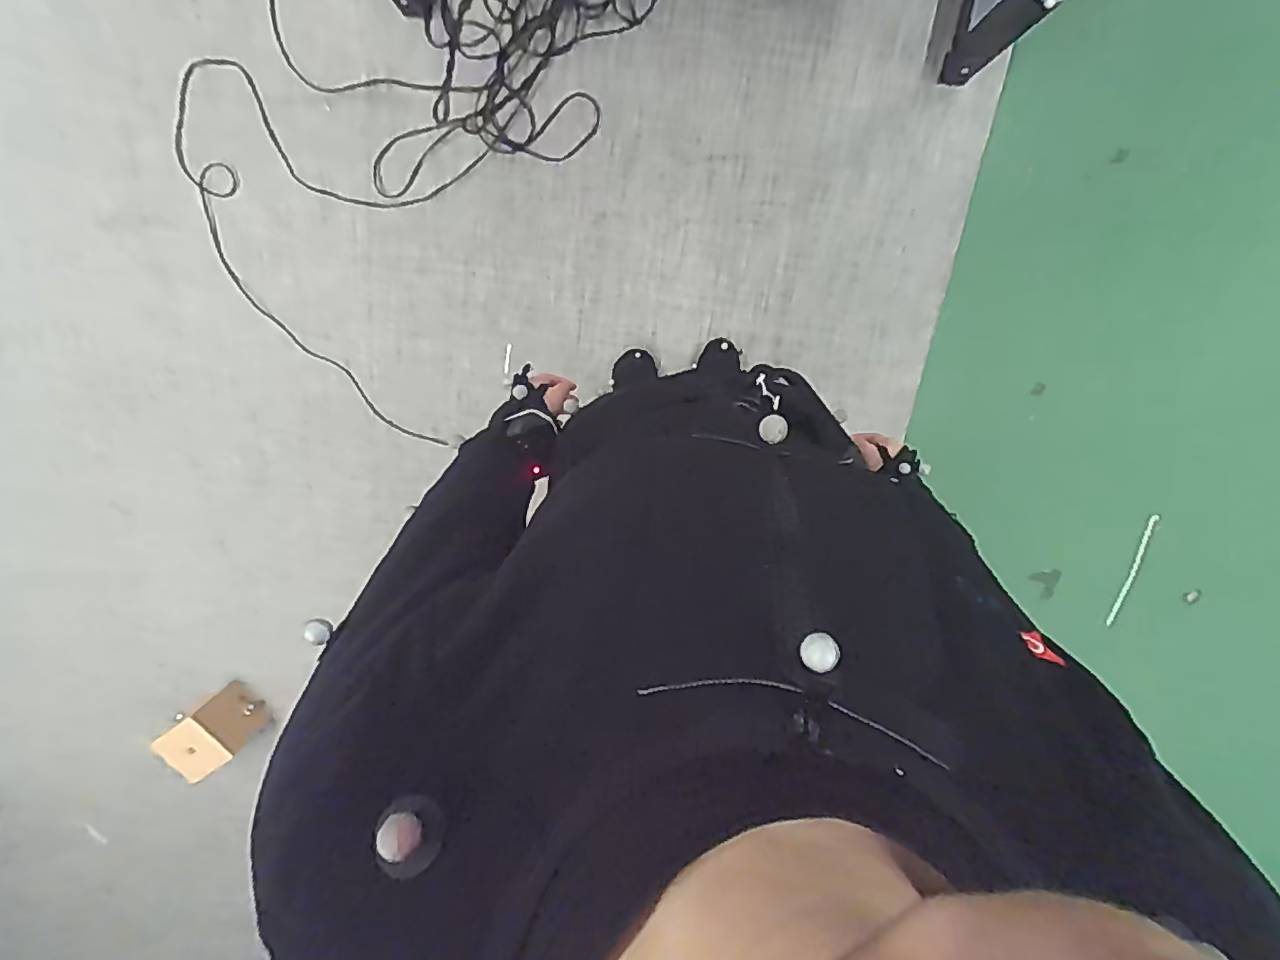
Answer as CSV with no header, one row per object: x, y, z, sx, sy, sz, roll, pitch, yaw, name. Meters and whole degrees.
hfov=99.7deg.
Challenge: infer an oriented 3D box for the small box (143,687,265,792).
-1.234,0.735,1.546,0.179,0.176,0.168,-35,102,10,small box
